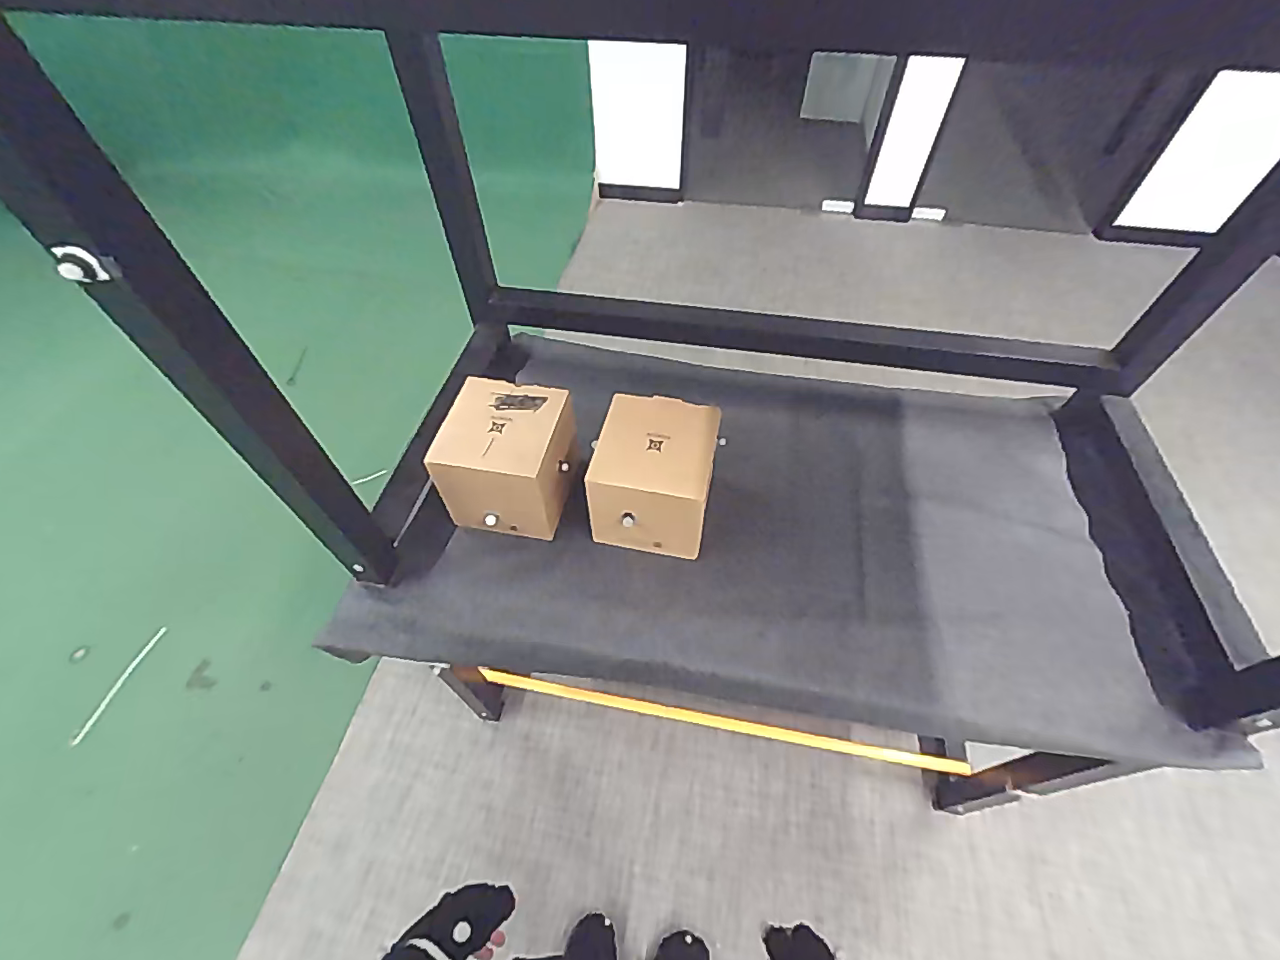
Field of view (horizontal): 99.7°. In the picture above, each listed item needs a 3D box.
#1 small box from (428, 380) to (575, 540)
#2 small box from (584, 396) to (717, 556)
[{"bbox_3d":[-0.204,-0.031,0.859,0.168,0.176,0.179,9,53,7],"label":"small box"},{"bbox_3d":[0.021,-0.002,0.840,0.168,0.176,0.179,9,53,7],"label":"small box"}]
